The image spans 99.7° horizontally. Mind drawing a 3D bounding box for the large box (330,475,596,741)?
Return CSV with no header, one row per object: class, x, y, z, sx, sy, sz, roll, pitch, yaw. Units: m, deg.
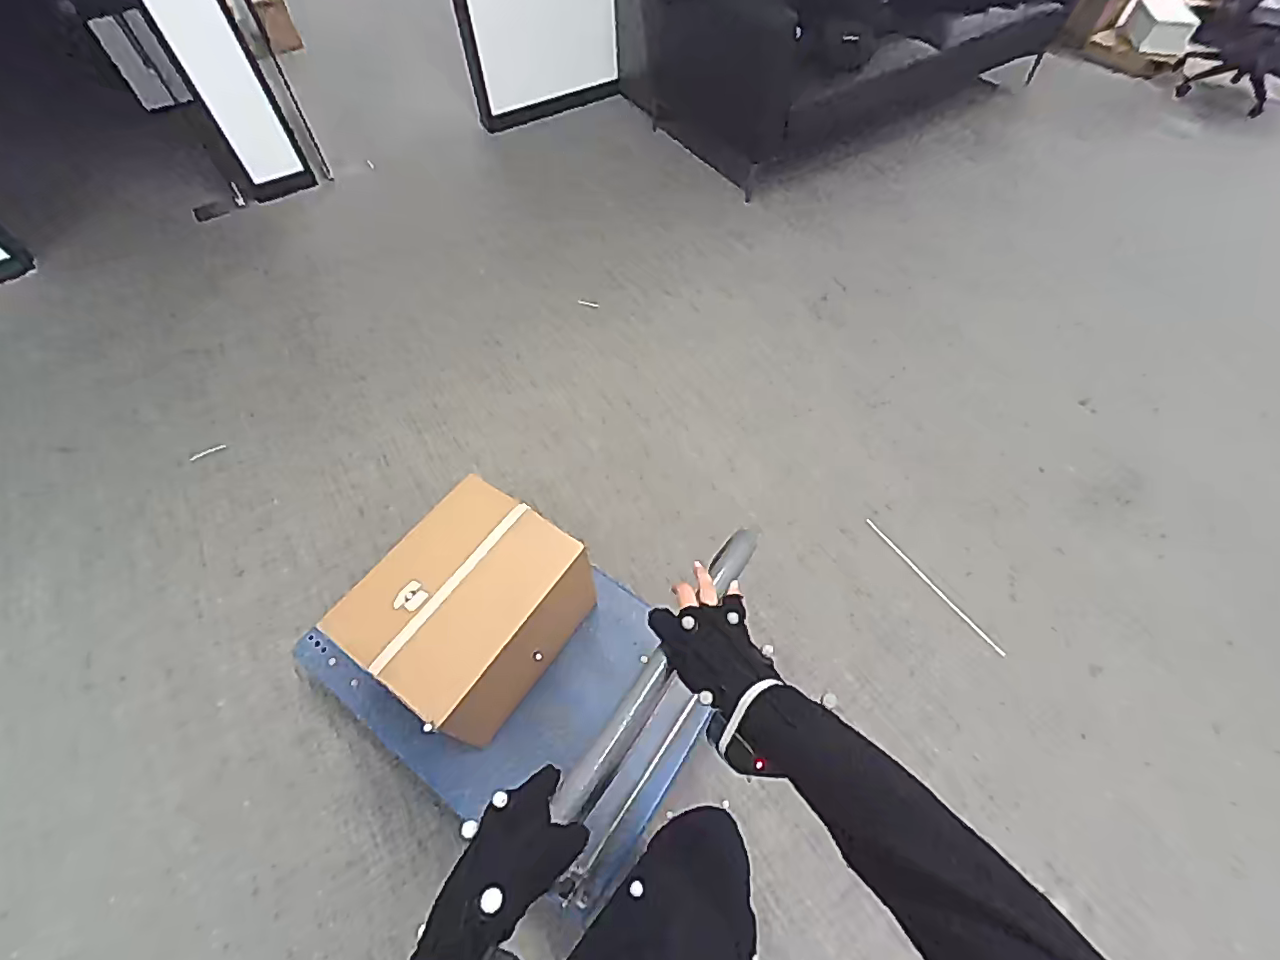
large box,-0.336,0.274,1.155,0.320,0.320,0.408,29,63,18
